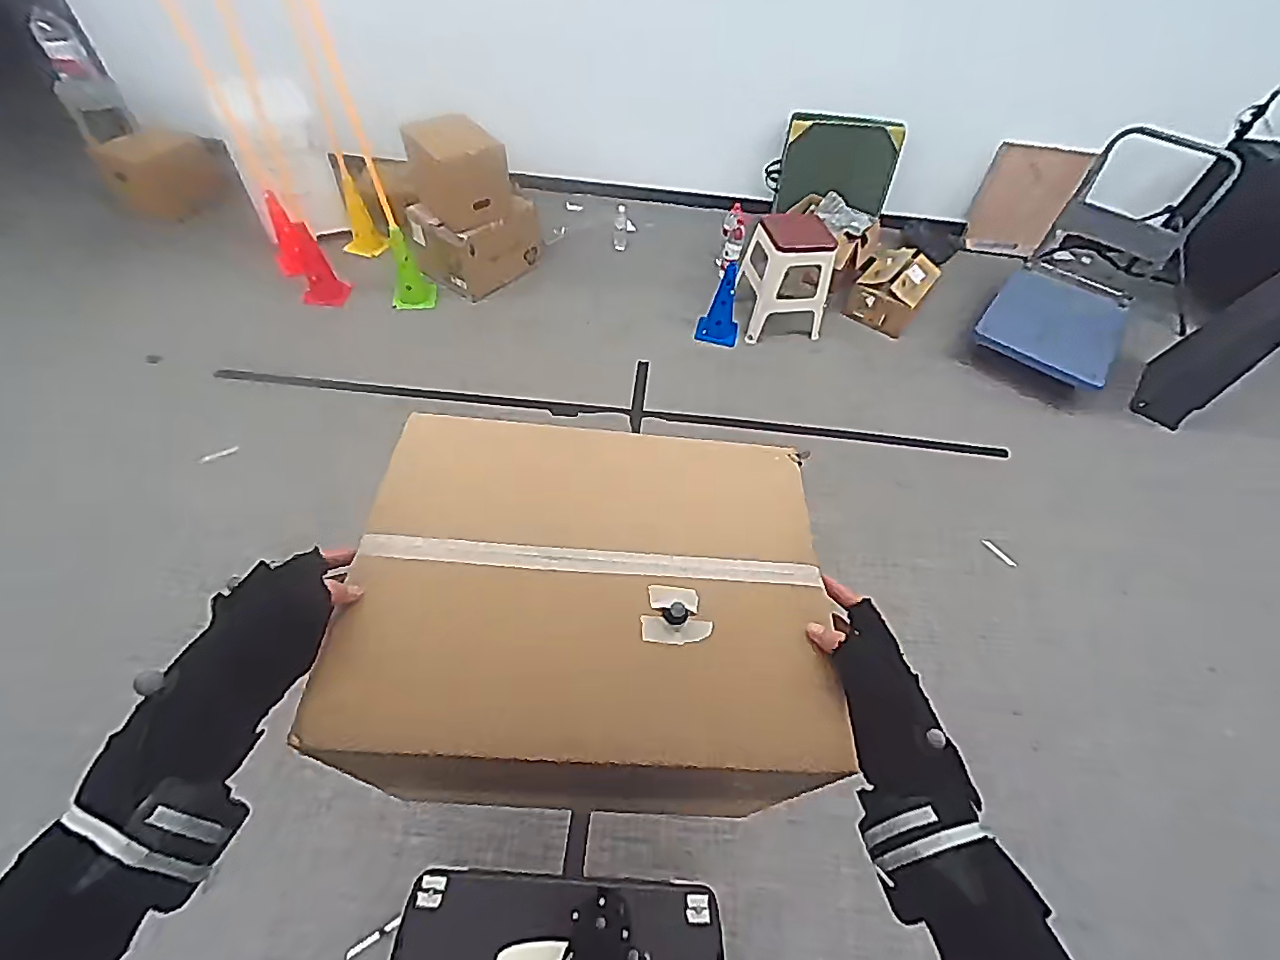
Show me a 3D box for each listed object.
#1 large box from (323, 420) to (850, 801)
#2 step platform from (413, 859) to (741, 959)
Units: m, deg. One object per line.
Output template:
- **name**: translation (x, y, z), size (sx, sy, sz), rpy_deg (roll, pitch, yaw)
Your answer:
- **large box**: translation (-0.049, 0.162, 0.607), size (0.408, 0.320, 0.320), rpy_deg (5, 54, -5)
- **step platform**: translation (-0.128, 1.008, 1.165), size (0.684, 0.204, 0.286), rpy_deg (5, 52, -3)
